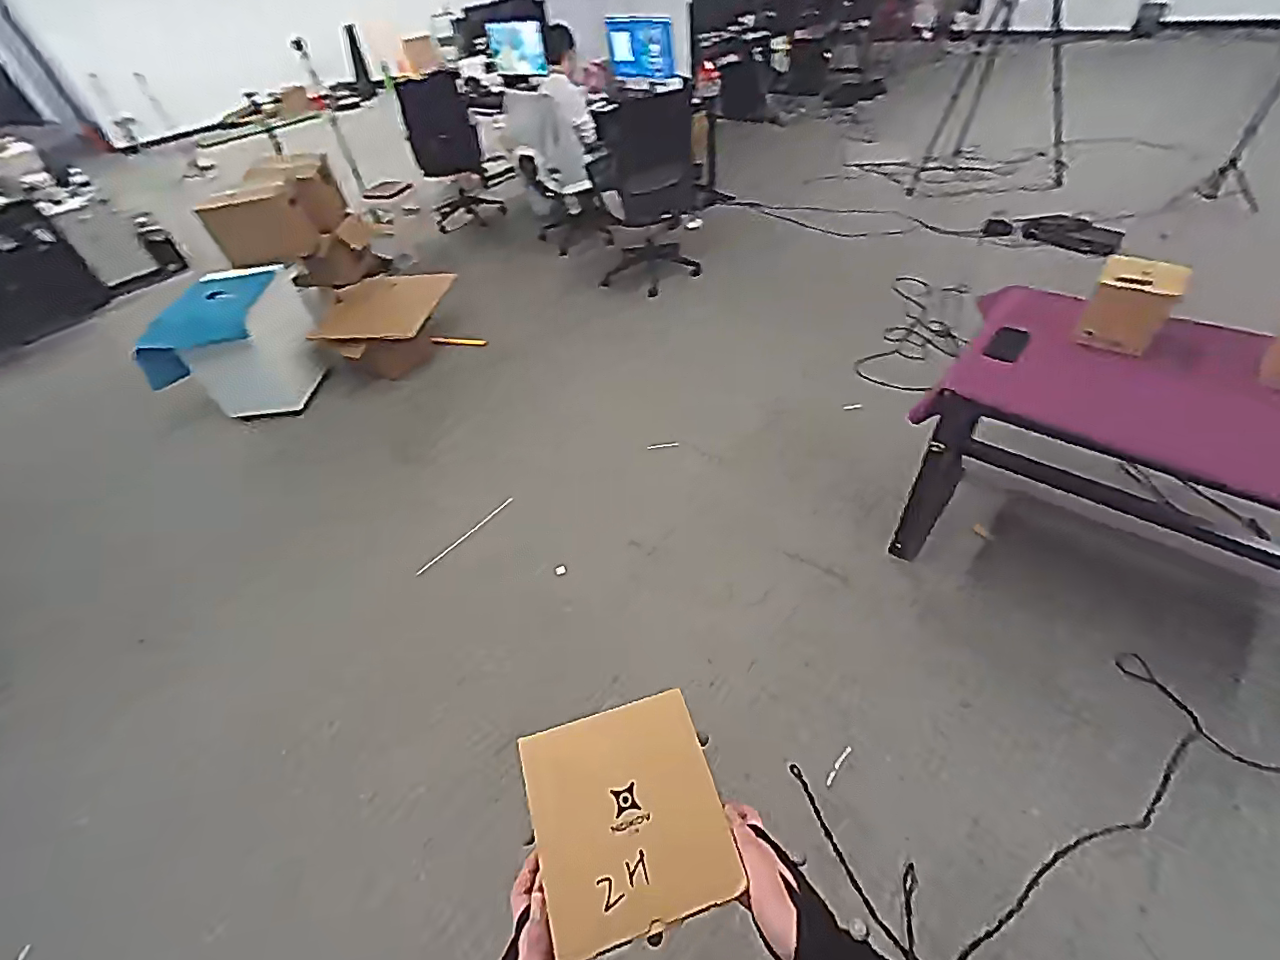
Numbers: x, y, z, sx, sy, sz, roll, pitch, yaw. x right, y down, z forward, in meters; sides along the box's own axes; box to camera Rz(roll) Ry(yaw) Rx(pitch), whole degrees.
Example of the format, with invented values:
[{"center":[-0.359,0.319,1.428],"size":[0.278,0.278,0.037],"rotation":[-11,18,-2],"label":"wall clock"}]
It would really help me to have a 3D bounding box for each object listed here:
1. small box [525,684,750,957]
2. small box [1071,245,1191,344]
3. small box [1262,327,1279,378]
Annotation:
[{"center":[-0.011,0.336,0.545],"size":[0.168,0.176,0.179],"rotation":[-14,55,-10],"label":"small box"},{"center":[1.249,-0.474,1.387],"size":[0.168,0.176,0.179],"rotation":[28,56,31],"label":"small box"},{"center":[1.539,-0.318,1.189],"size":[0.168,0.176,0.179],"rotation":[28,58,32],"label":"small box"}]
